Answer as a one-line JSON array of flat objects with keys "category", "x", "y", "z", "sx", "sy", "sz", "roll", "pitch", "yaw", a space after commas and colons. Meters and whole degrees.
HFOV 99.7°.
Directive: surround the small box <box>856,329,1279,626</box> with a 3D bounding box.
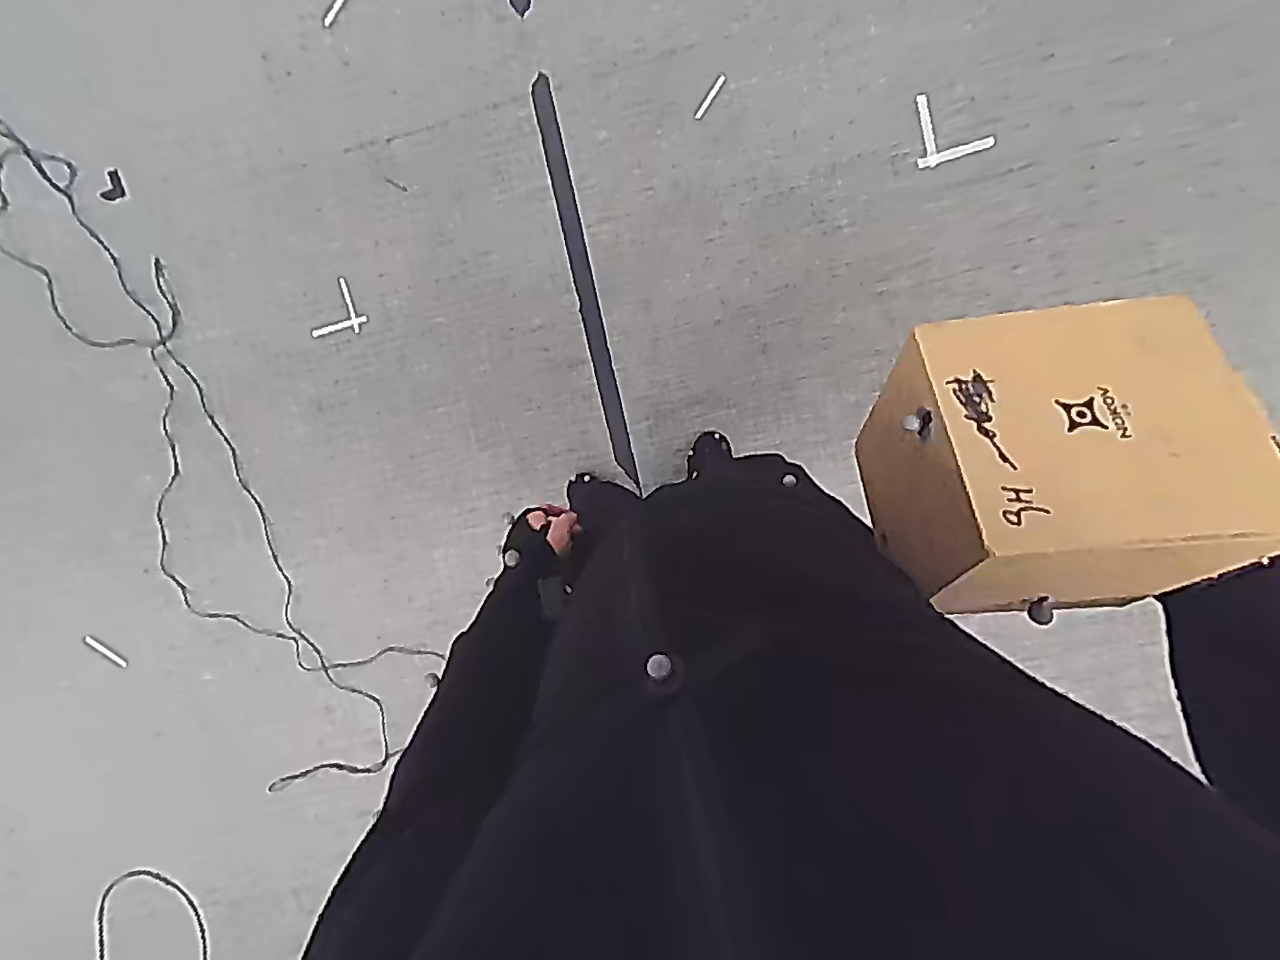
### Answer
[{"category": "small box", "x": 0.289, "y": 0.010, "z": 0.414, "sx": 0.179, "sy": 0.176, "sz": 0.168, "roll": -5, "pitch": 63, "yaw": 5}]
